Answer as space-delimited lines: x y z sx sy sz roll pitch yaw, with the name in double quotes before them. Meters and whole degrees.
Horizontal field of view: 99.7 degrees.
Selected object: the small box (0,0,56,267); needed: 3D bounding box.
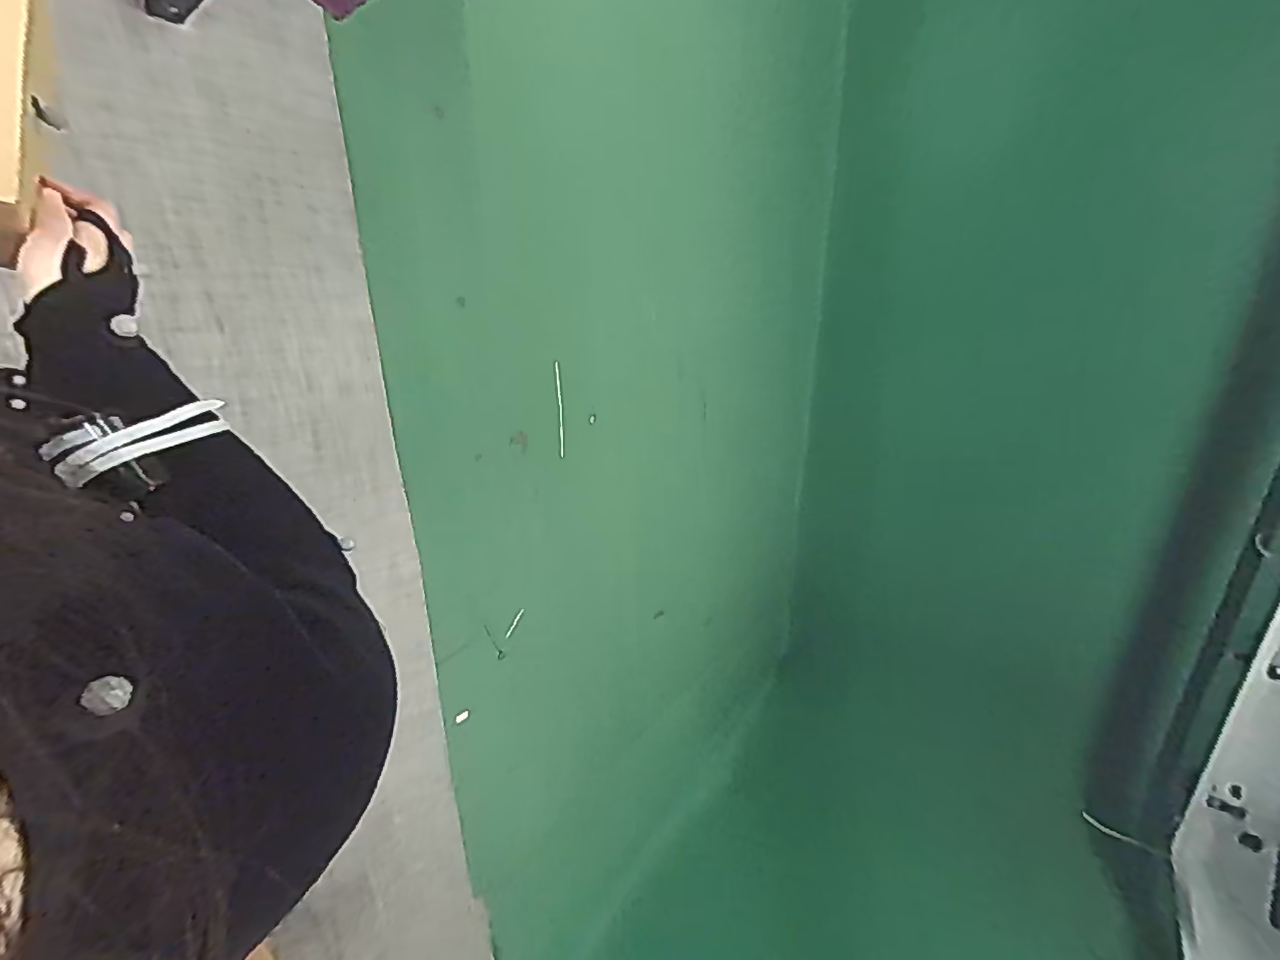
"small box" -0.486 -0.253 0.329 0.168 0.176 0.179 3 89 -45
